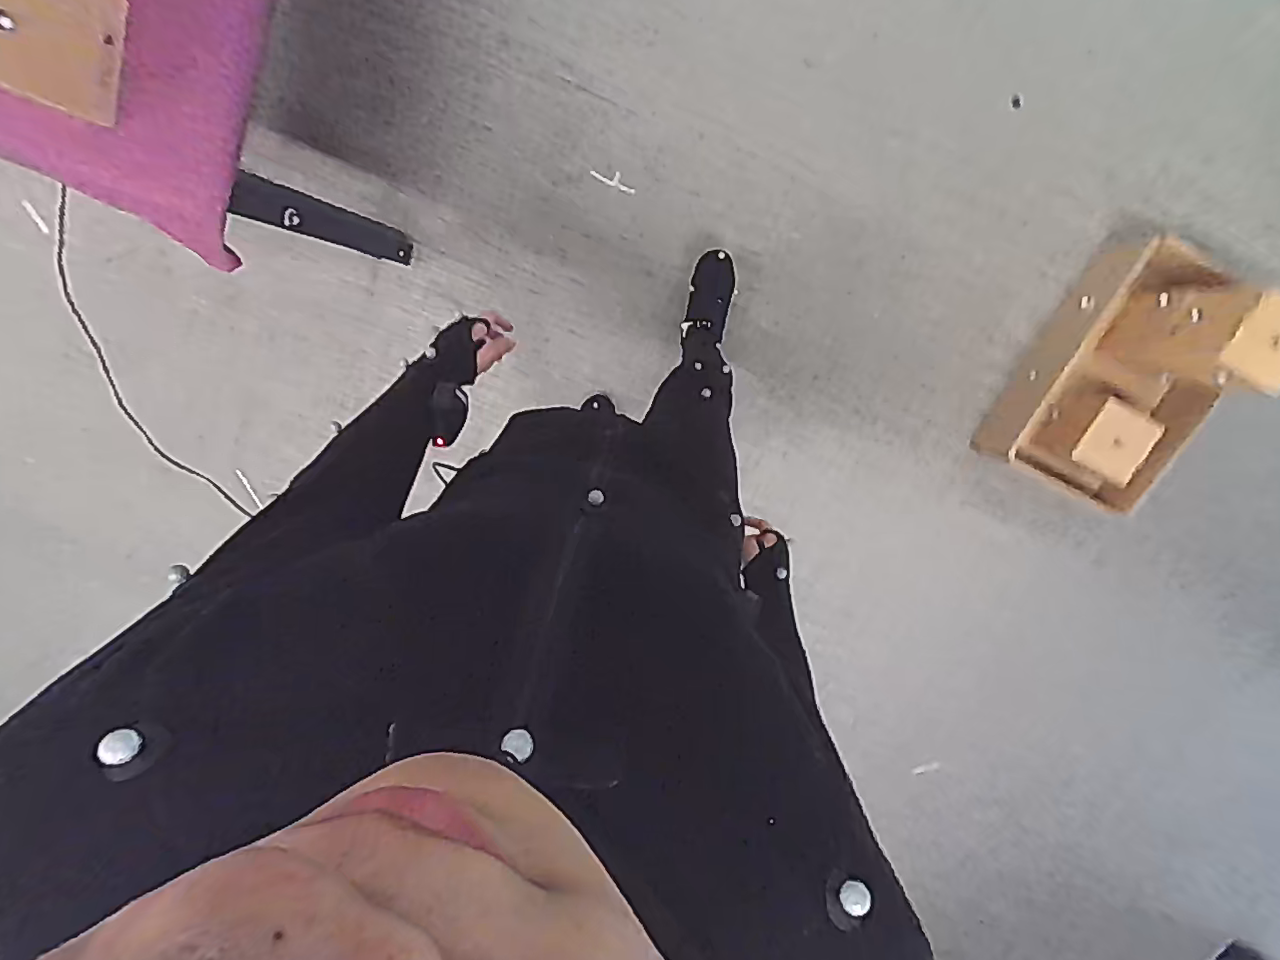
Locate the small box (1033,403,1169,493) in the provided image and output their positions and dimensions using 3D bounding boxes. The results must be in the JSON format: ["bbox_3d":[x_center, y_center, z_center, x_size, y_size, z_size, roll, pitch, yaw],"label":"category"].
[{"bbox_3d":[1.212,-0.093,1.436,0.179,0.176,0.168,26,102,-6],"label":"small box"}]

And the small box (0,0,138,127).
[{"bbox_3d":[-0.778,-0.567,0.653,0.179,0.176,0.168,20,104,-4],"label":"small box"}]

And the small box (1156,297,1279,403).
[{"bbox_3d":[1.344,-0.294,1.212,0.179,0.176,0.168,27,104,-7],"label":"small box"}]
